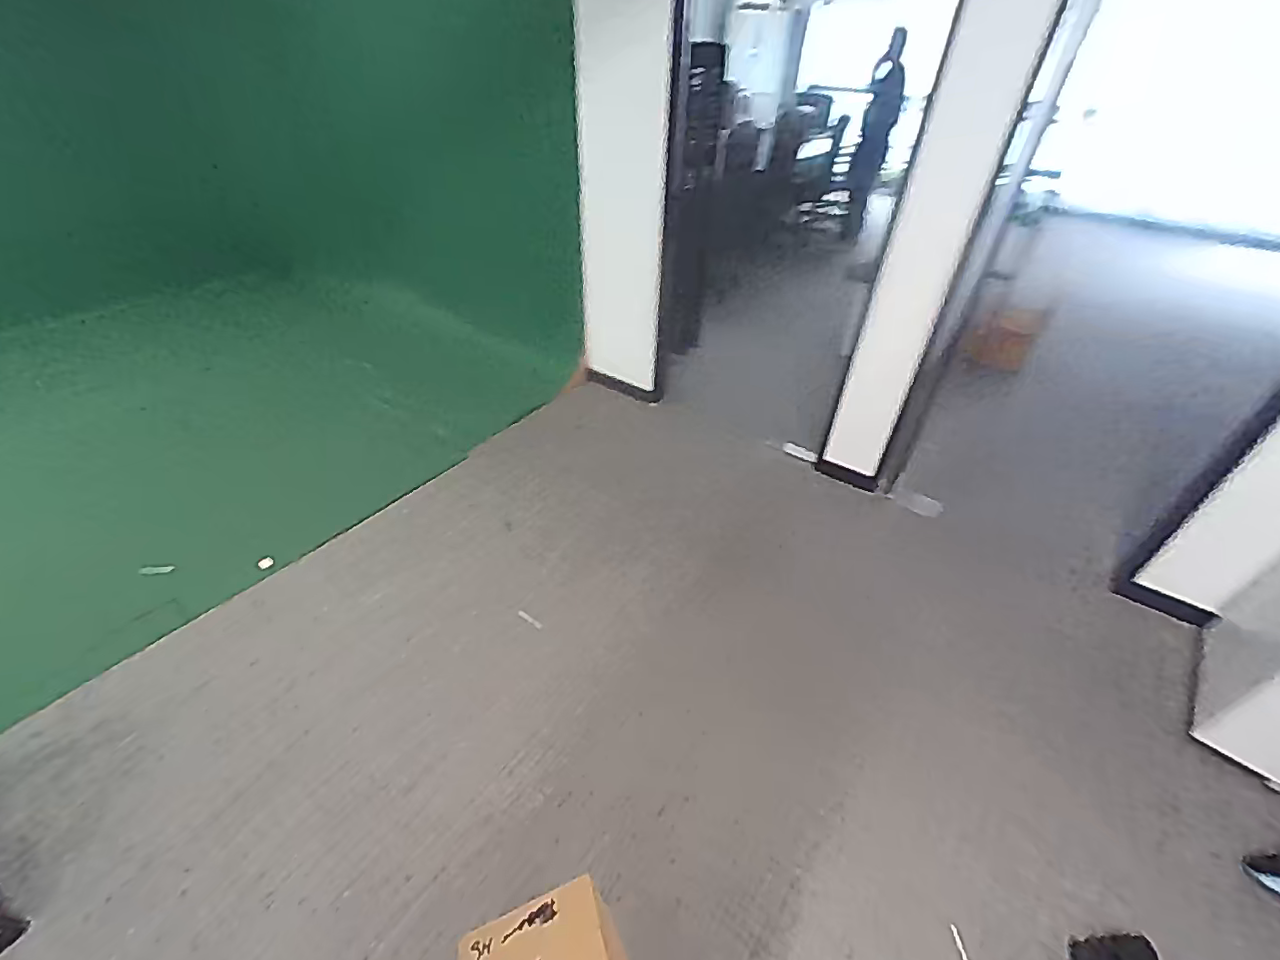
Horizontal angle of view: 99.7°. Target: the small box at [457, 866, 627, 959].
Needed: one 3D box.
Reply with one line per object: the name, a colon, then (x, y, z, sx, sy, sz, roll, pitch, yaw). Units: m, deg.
small box: (-0.097, 0.608, 0.616, 0.168, 0.176, 0.179, -22, 22, -11)
